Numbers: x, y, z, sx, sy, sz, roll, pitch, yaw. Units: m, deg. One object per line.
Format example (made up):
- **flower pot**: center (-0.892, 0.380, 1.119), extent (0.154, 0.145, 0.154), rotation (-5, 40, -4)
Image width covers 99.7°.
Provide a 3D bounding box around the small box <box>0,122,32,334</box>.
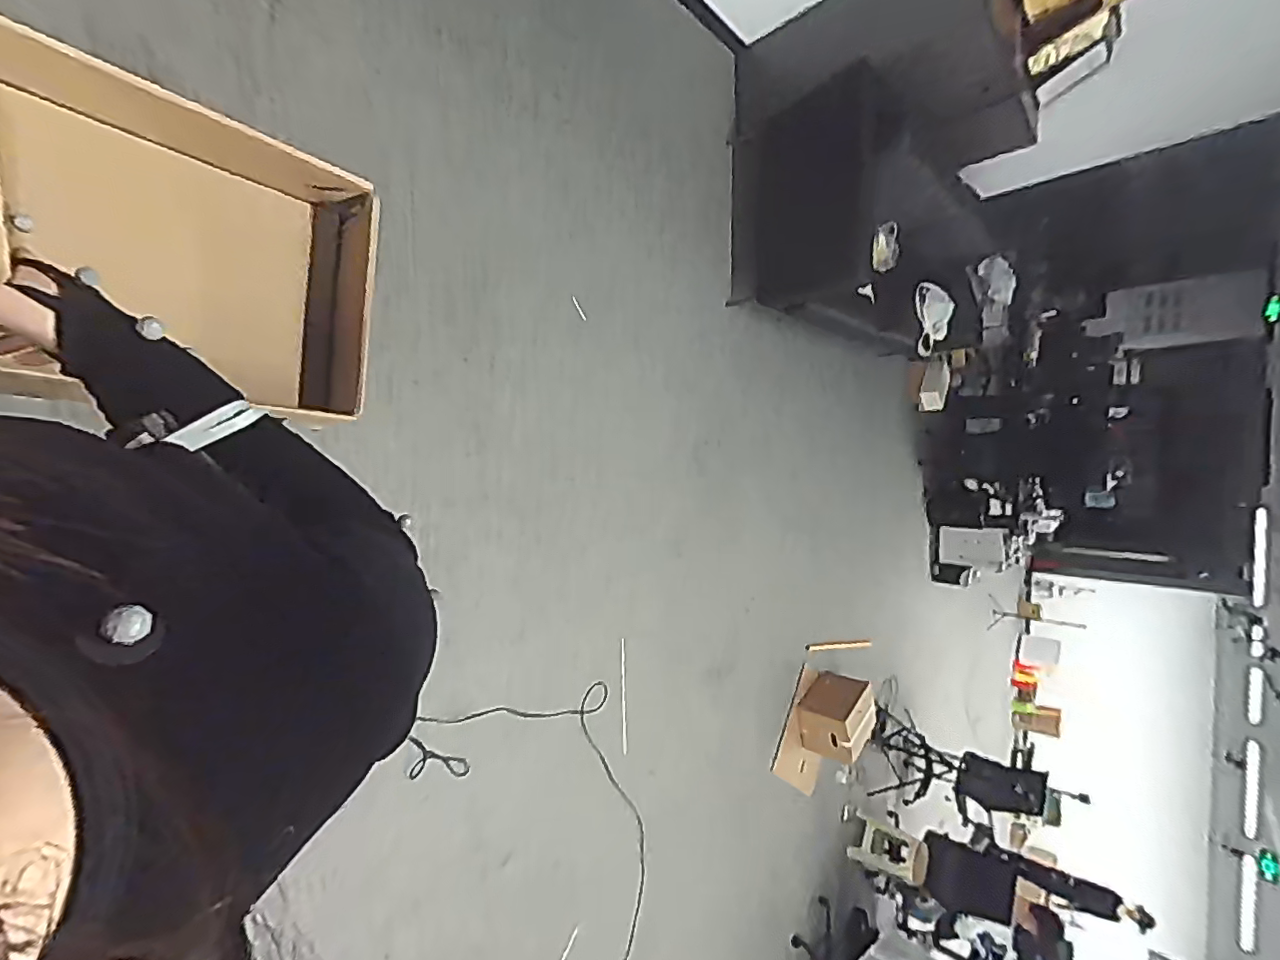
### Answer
- **small box**: center (-0.537, -0.195, 0.357), extent (0.168, 0.176, 0.179), rotation (-7, 103, -46)
